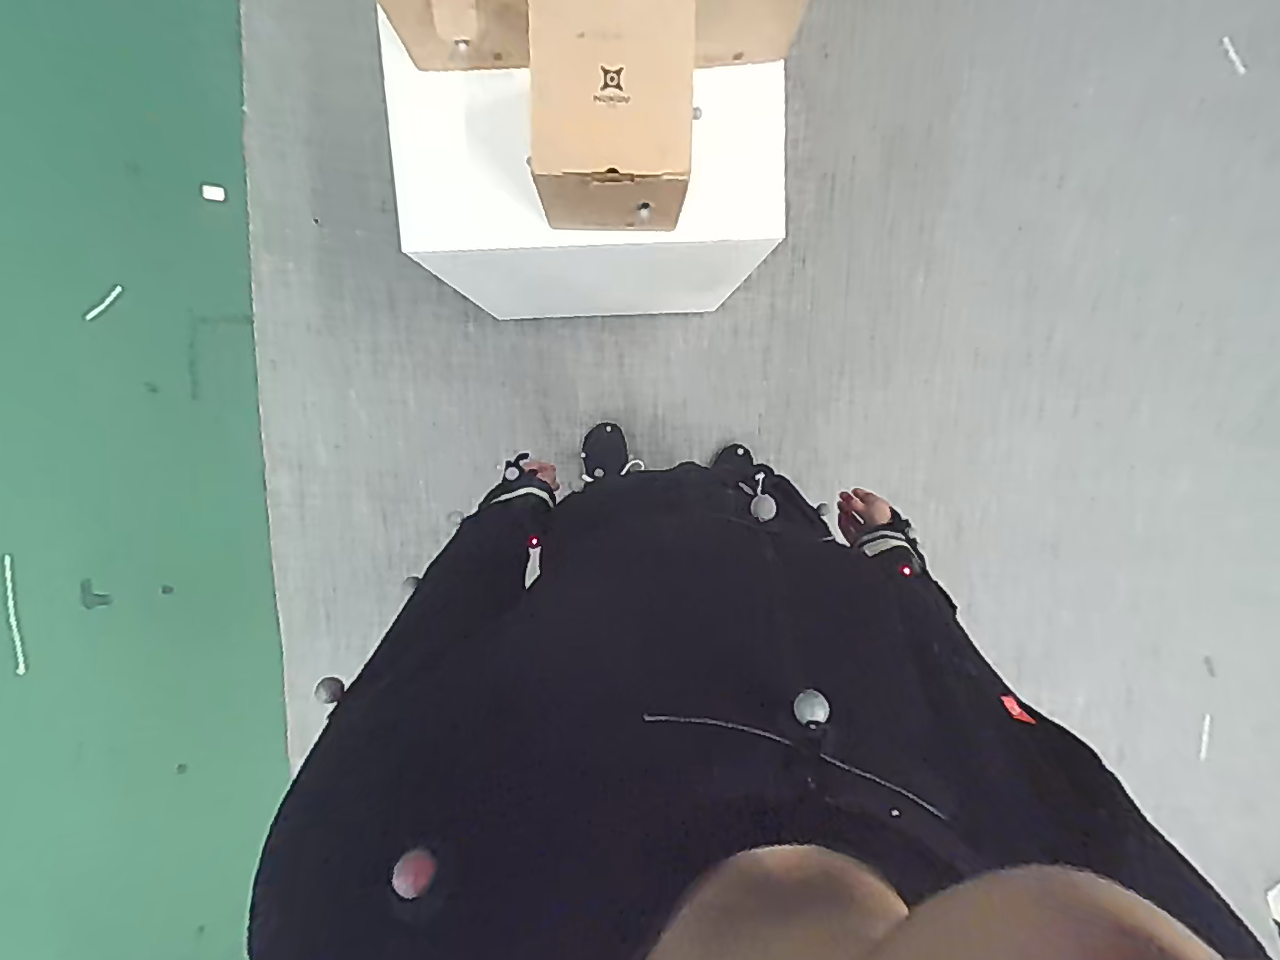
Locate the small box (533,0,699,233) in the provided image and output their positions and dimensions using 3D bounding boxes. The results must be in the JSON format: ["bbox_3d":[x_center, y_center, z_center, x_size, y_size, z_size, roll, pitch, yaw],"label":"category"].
[{"bbox_3d":[-0.027,-0.399,0.620,0.168,0.176,0.179,1,96,-2],"label":"small box"}]

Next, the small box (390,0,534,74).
[{"bbox_3d":[-0.193,-0.588,0.591,0.168,0.176,0.179,-4,99,-2],"label":"small box"}]
